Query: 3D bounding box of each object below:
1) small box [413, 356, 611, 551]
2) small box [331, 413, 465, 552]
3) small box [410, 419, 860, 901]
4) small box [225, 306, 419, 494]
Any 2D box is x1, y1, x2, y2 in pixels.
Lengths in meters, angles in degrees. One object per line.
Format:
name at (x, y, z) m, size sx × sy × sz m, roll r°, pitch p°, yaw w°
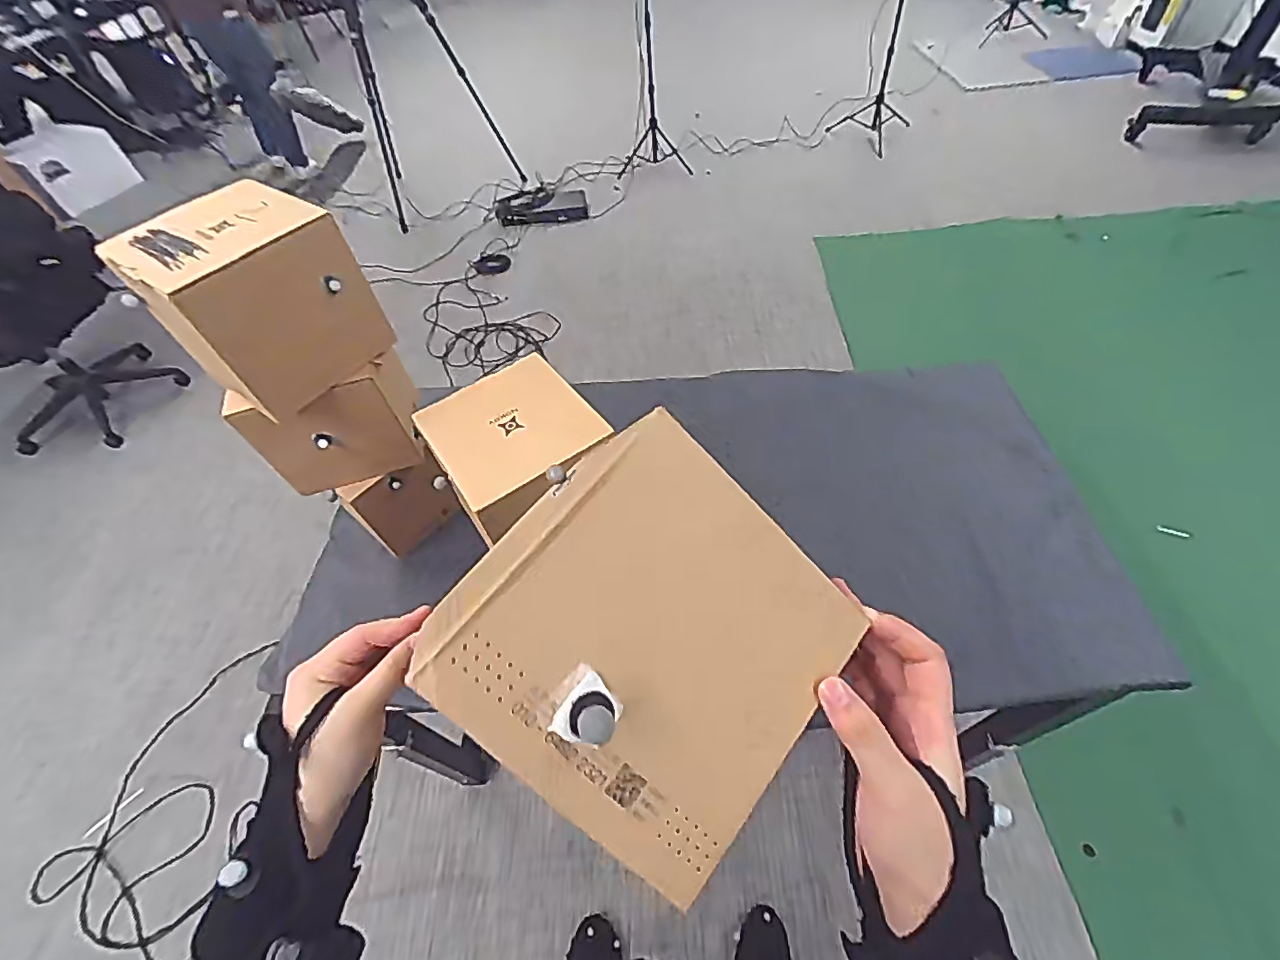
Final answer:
small box at (-0.134, -0.009, 0.649) m, size 0.168 × 0.176 × 0.179 m, roll -32°, pitch 55°, yaw -18°
small box at (-0.409, -0.012, 0.888) m, size 0.179 × 0.176 × 0.168 m, roll 32°, pitch 62°, yaw 26°
small box at (-0.016, 0.091, 0.332) m, size 0.168 × 0.179 × 0.176 m, roll 43°, pitch 74°, yaw -12°
small box at (-0.423, -0.108, 0.754) m, size 0.179 × 0.176 × 0.168 m, roll -18°, pitch 54°, yaw -7°
